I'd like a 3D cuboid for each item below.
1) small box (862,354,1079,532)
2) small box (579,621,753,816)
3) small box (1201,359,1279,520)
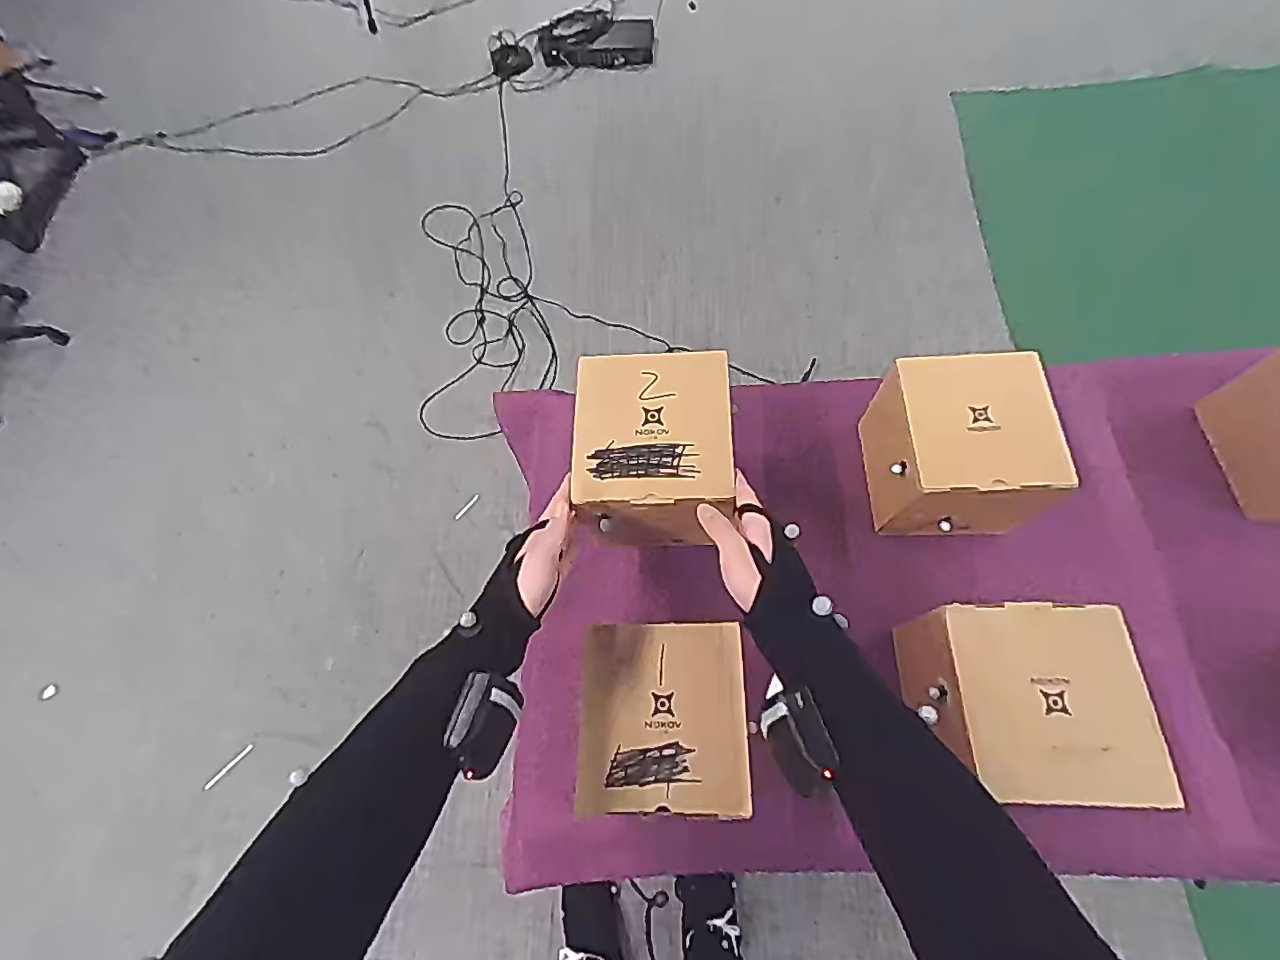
[{"bbox_3d":[0.401,-0.040,0.695,0.168,0.176,0.179,-1,68,5],"label":"small box"},{"bbox_3d":[0.033,0.258,0.604,0.168,0.176,0.179,-2,66,5],"label":"small box"},{"bbox_3d":[0.854,-0.062,0.651,0.168,0.176,0.179,-4,67,8],"label":"small box"}]
